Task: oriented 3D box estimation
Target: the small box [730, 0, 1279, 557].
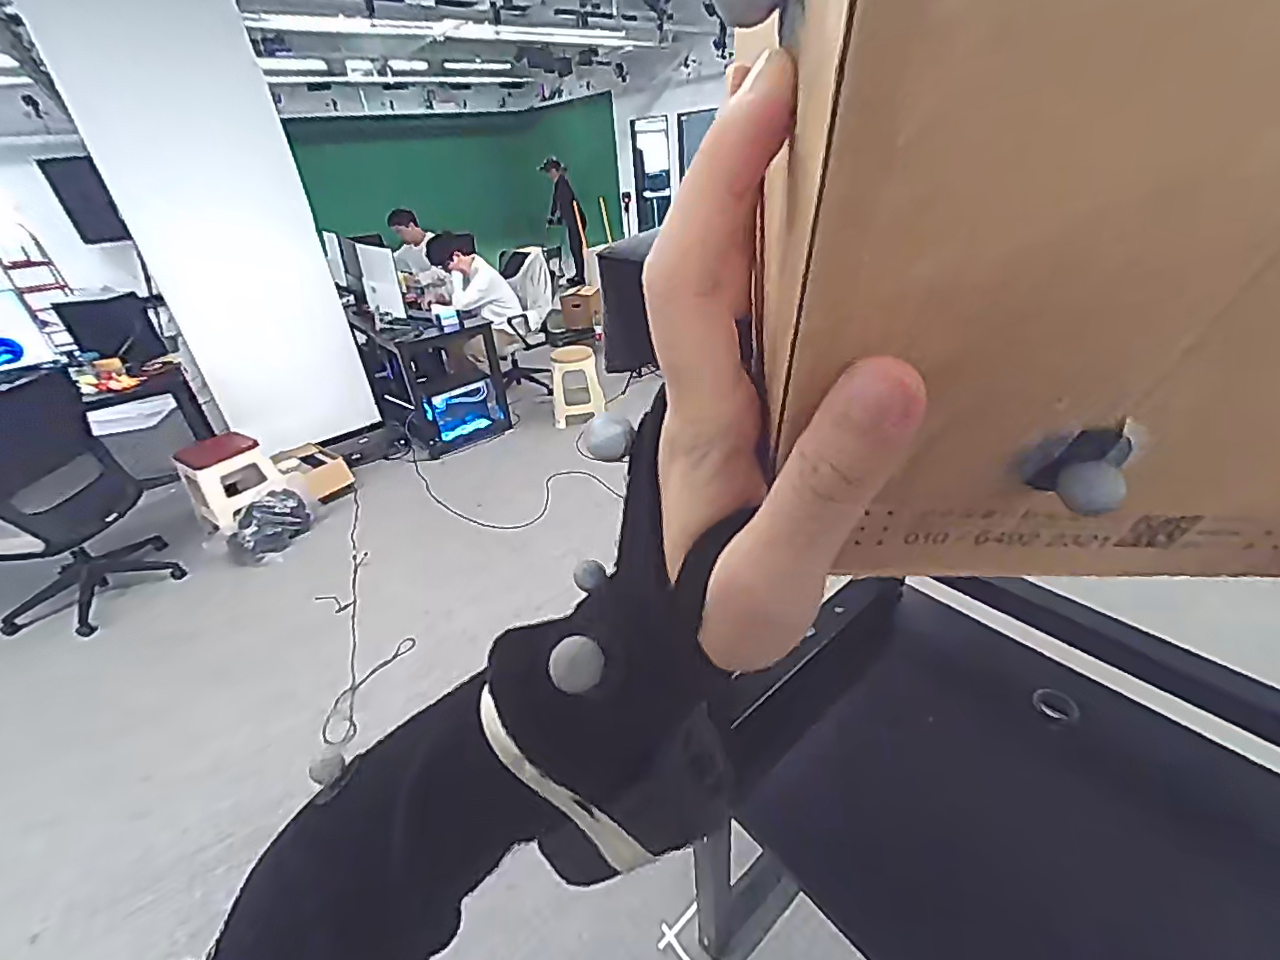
[{"bbox_3d":[0.115,-0.097,0.146,0.168,0.176,0.179,-1,54,5],"label":"small box"}]
